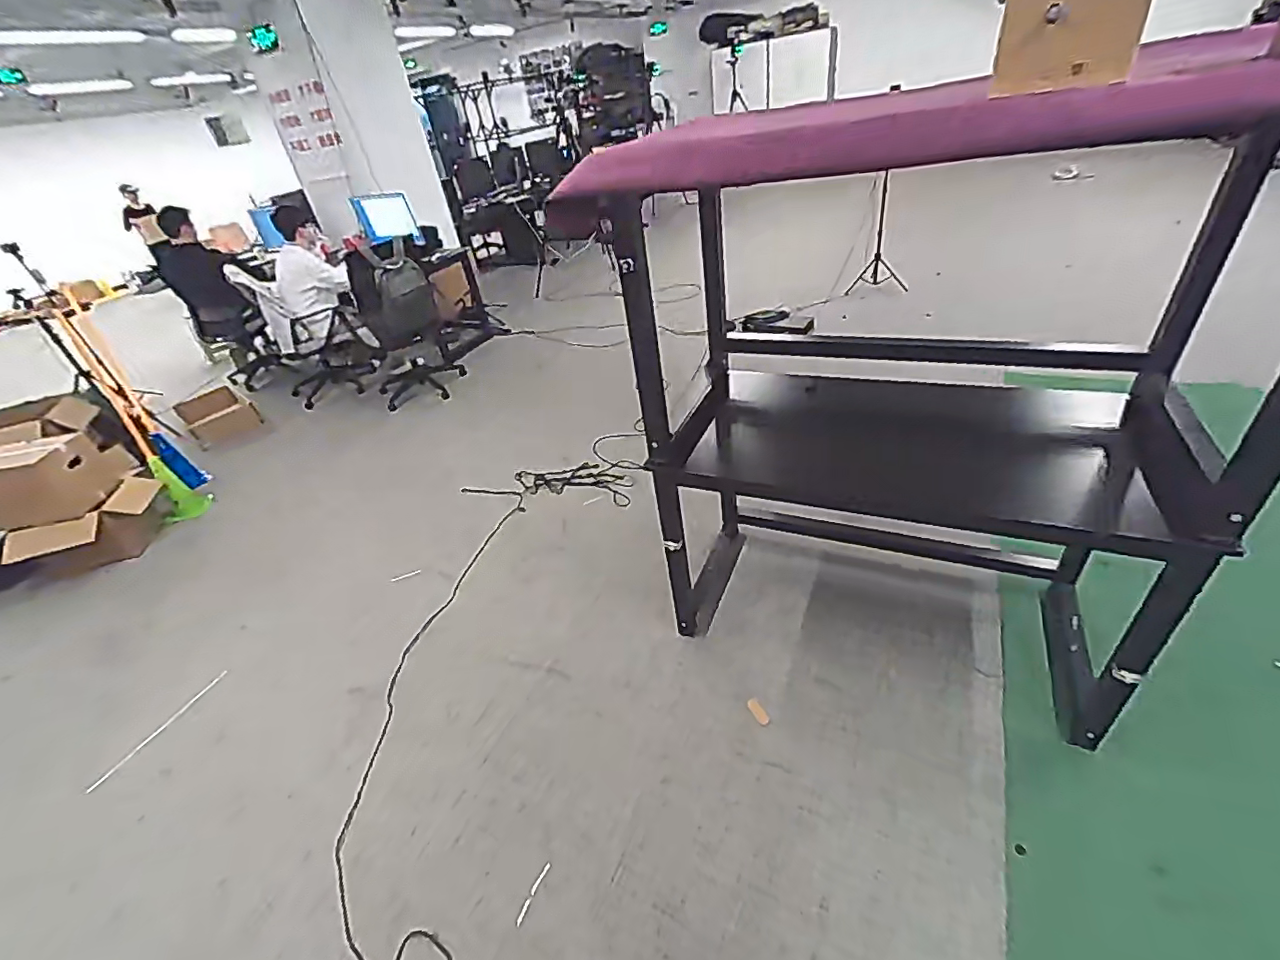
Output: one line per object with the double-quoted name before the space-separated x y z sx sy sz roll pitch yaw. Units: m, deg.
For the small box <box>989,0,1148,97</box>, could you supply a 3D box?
"small box" 0.626 -0.671 0.788 0.168 0.176 0.179 13 39 29
